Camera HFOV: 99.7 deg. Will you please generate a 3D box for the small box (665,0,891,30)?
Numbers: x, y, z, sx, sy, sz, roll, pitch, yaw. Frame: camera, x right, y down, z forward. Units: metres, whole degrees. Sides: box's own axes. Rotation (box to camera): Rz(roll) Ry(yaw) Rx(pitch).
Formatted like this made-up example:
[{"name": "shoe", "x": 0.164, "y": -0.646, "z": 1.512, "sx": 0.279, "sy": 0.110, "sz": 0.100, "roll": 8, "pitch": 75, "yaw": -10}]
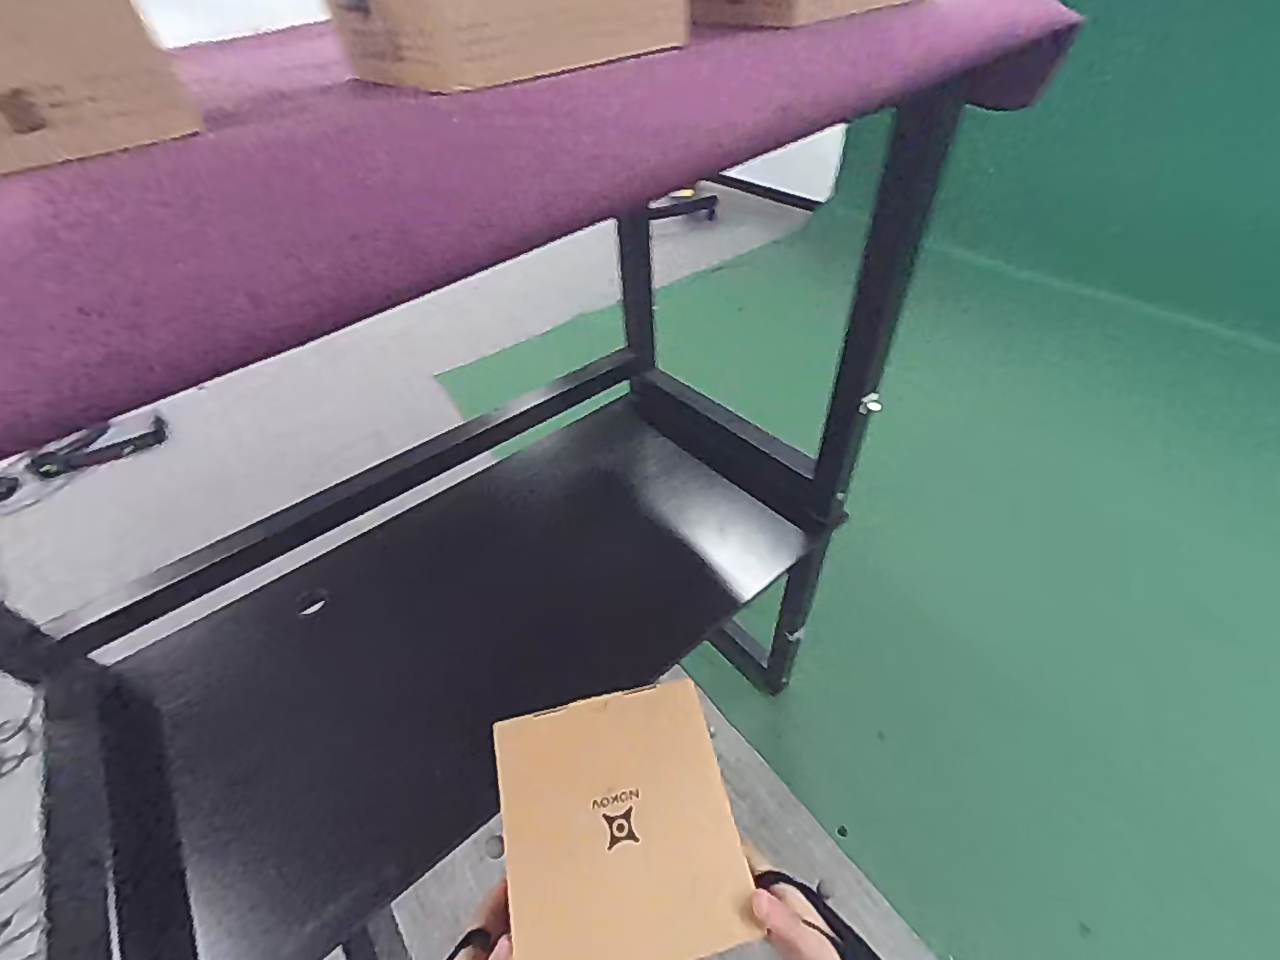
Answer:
[{"name": "small box", "x": 0.127, "y": -0.484, "z": 0.430, "sx": 0.179, "sy": 0.176, "sz": 0.168, "roll": -32, "pitch": 51, "yaw": -23}]
